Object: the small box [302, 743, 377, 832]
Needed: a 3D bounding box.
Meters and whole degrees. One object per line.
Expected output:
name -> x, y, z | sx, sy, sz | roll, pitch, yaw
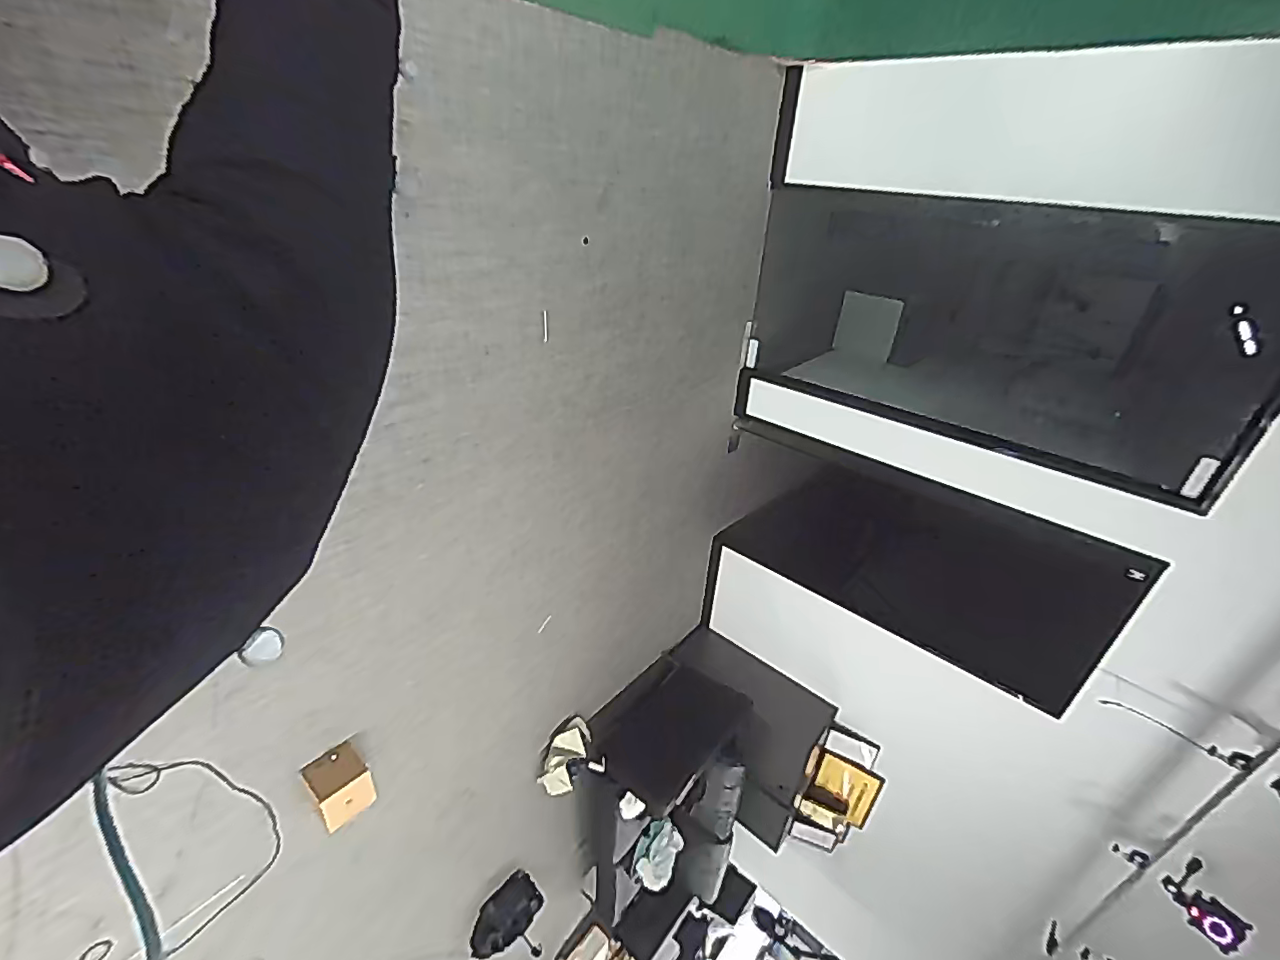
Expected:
small box -> -1.051, 1.068, 1.891 | 0.168, 0.176, 0.179 | -26, 131, -45
